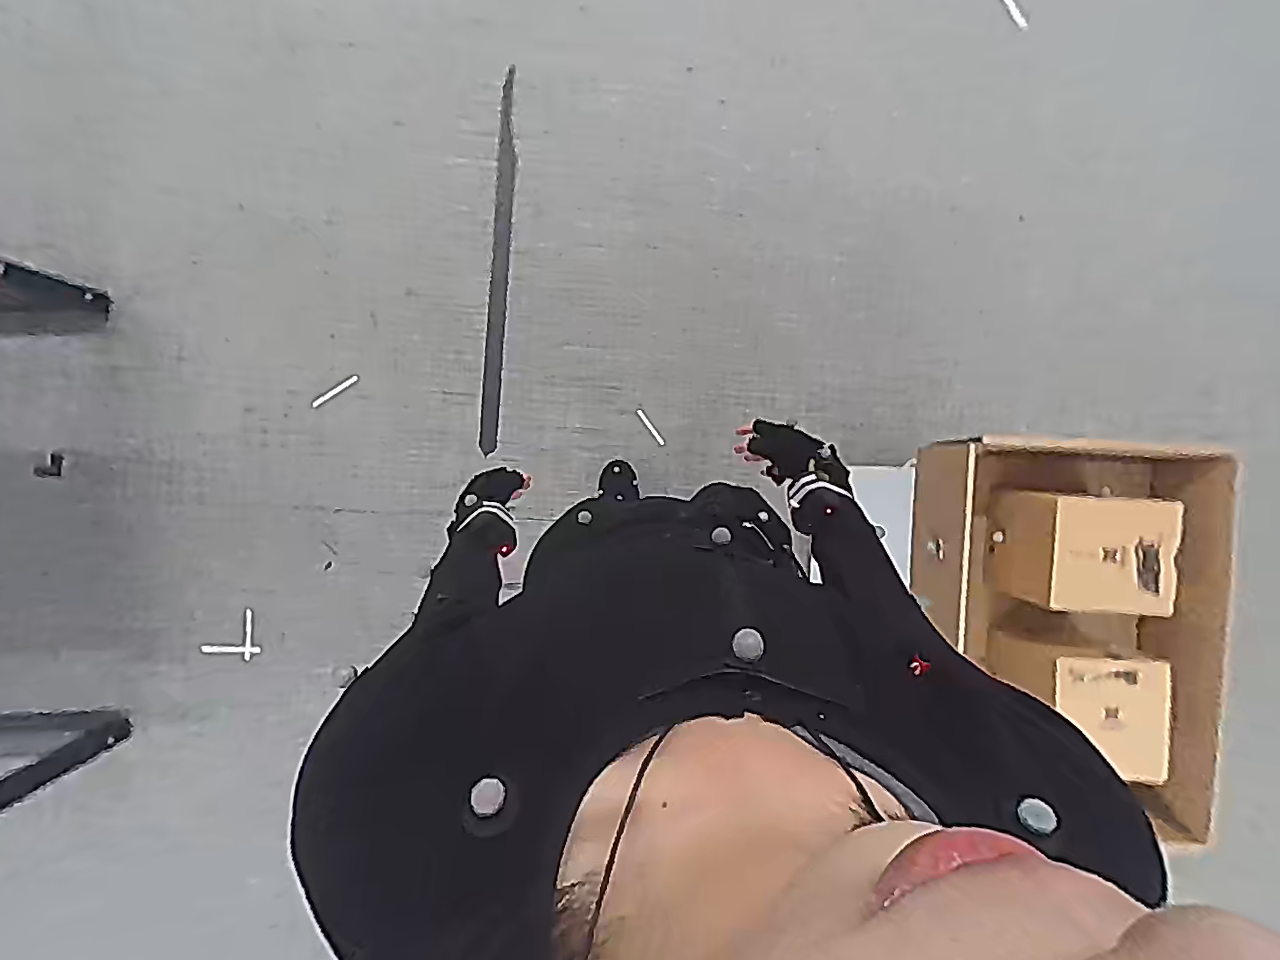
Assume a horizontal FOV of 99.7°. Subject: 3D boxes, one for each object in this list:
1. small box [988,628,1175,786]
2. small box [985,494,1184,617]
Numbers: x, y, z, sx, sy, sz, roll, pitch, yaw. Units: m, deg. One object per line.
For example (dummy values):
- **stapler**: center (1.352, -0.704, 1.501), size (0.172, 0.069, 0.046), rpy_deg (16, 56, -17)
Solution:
- **small box**: center (0.689, 0.352, 0.864), size (0.168, 0.176, 0.179), rpy_deg (3, 90, 1)
- **small box**: center (0.691, 0.110, 0.859), size (0.179, 0.176, 0.168), rpy_deg (3, 92, 3)
